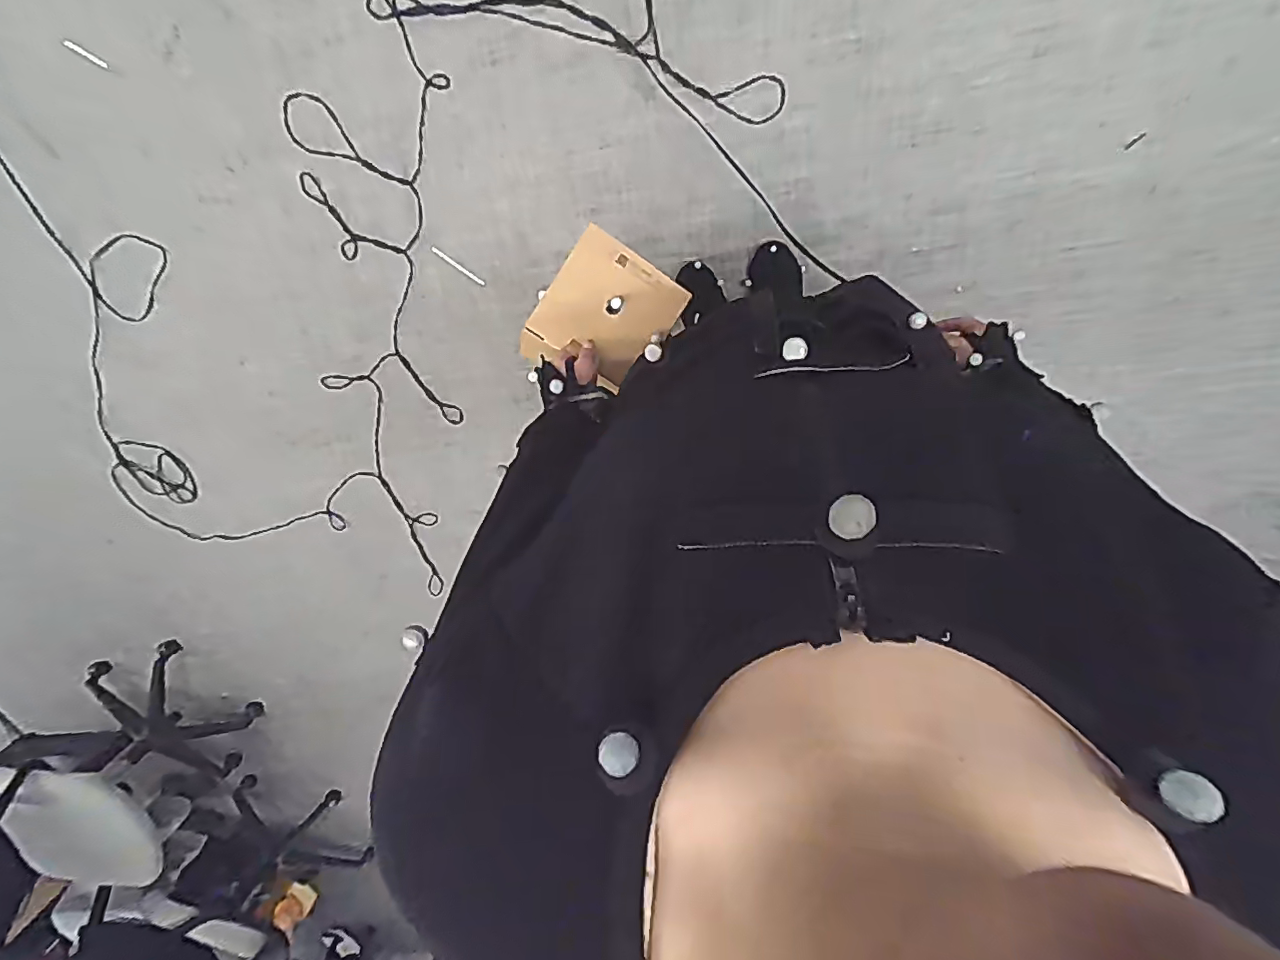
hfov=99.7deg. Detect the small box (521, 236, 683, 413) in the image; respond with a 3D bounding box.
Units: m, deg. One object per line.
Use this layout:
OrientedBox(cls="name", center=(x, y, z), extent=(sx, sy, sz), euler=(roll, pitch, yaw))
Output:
OrientedBox(cls="small box", center=(-0.057, -0.221, 0.798), extent=(0.168, 0.179, 0.176), euler=(32, 83, -13))
